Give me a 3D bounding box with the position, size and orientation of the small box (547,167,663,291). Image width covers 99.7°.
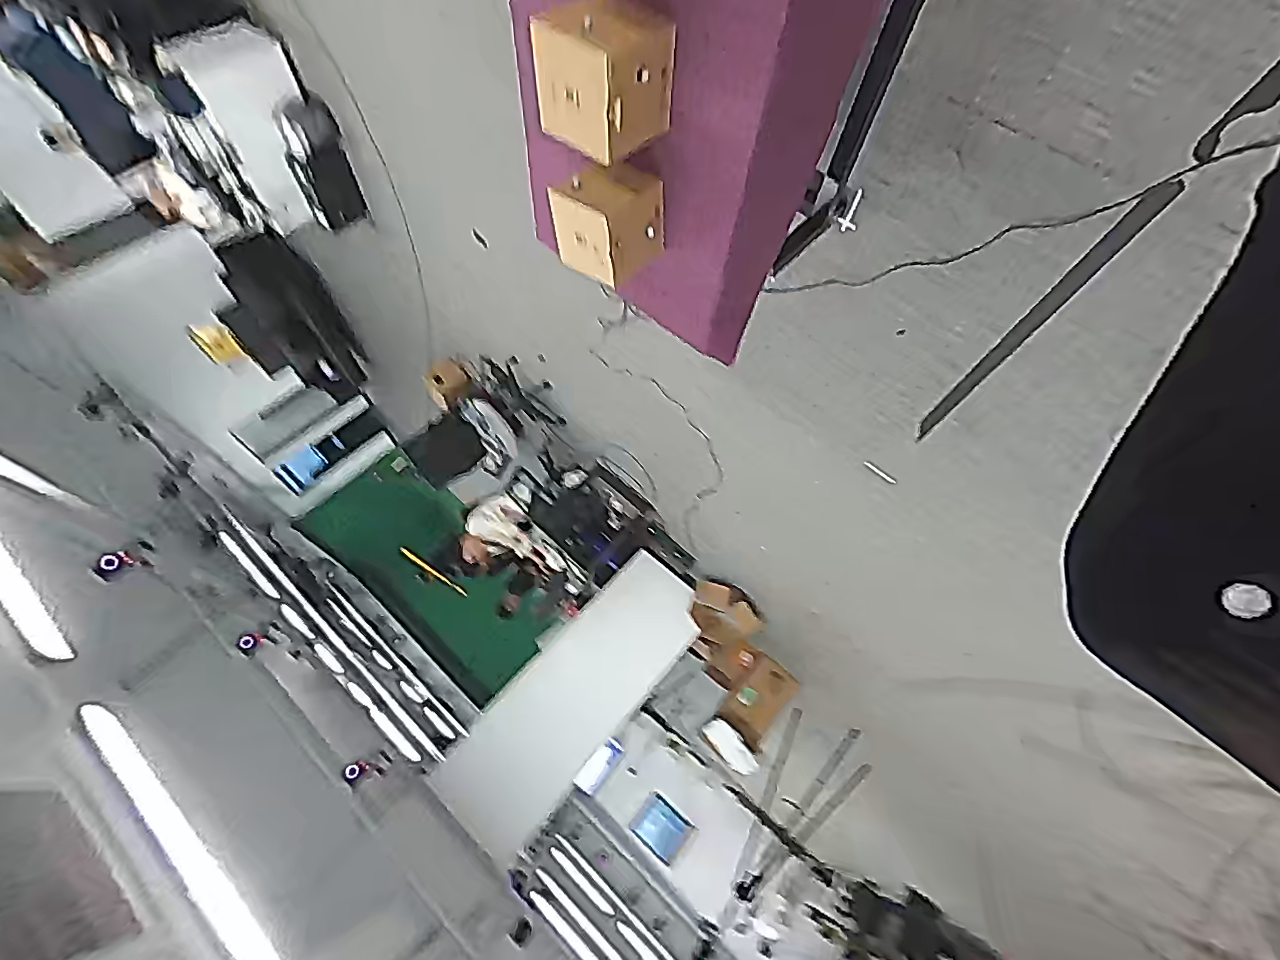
[{"bbox_3d":[-0.070,-0.550,1.171,0.179,0.176,0.168,34,155,24],"label":"small box"}]

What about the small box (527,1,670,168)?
[{"bbox_3d":[-0.065,-0.689,0.939,0.179,0.176,0.168,38,155,18],"label":"small box"}]
